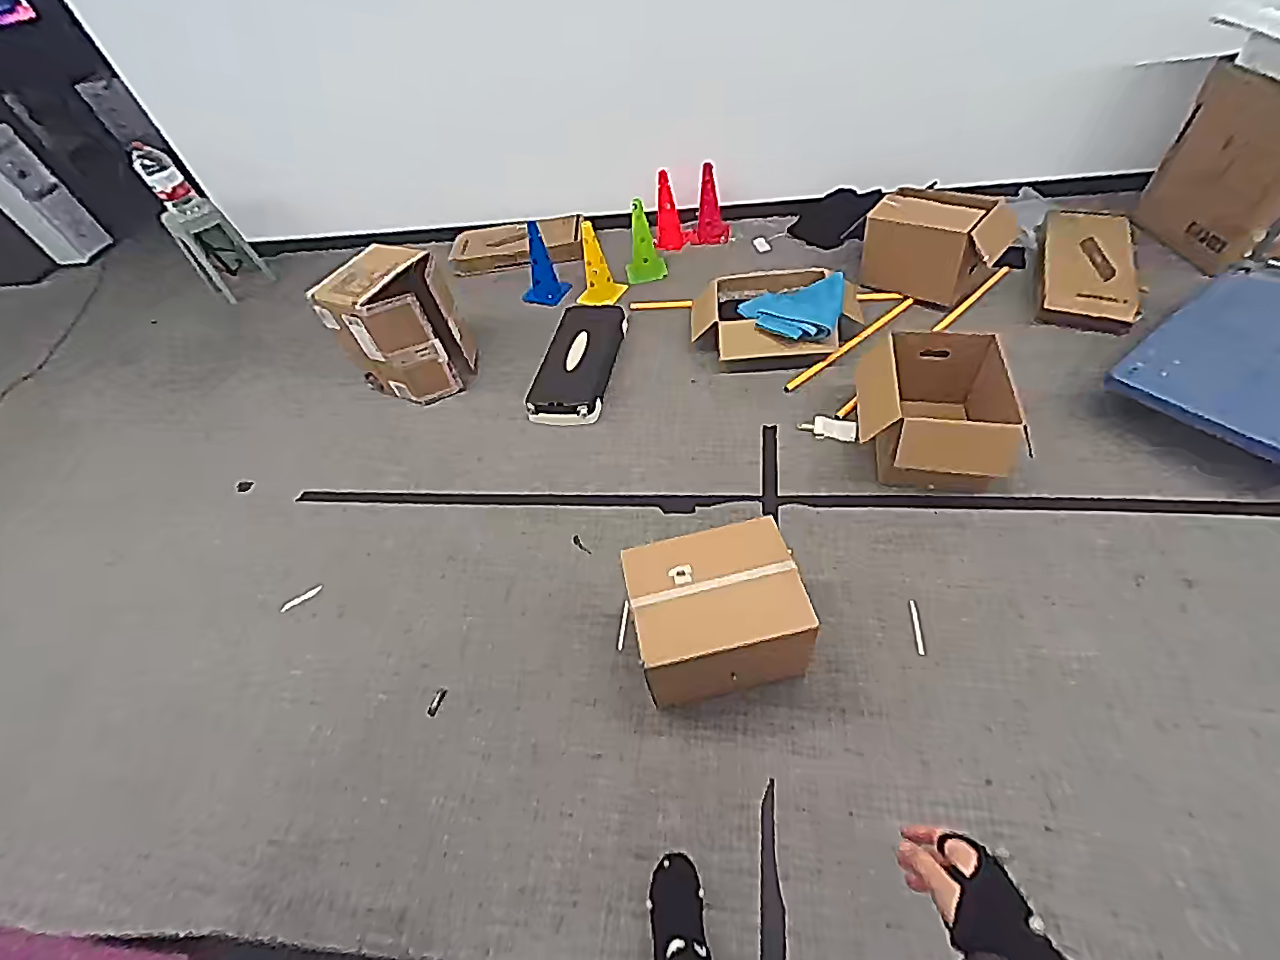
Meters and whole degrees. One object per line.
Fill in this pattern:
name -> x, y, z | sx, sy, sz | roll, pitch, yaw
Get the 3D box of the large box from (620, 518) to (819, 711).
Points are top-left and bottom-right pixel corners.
large box -> 0.194, 0.351, 1.387 | 0.408, 0.320, 0.320 | -14, 50, -1
